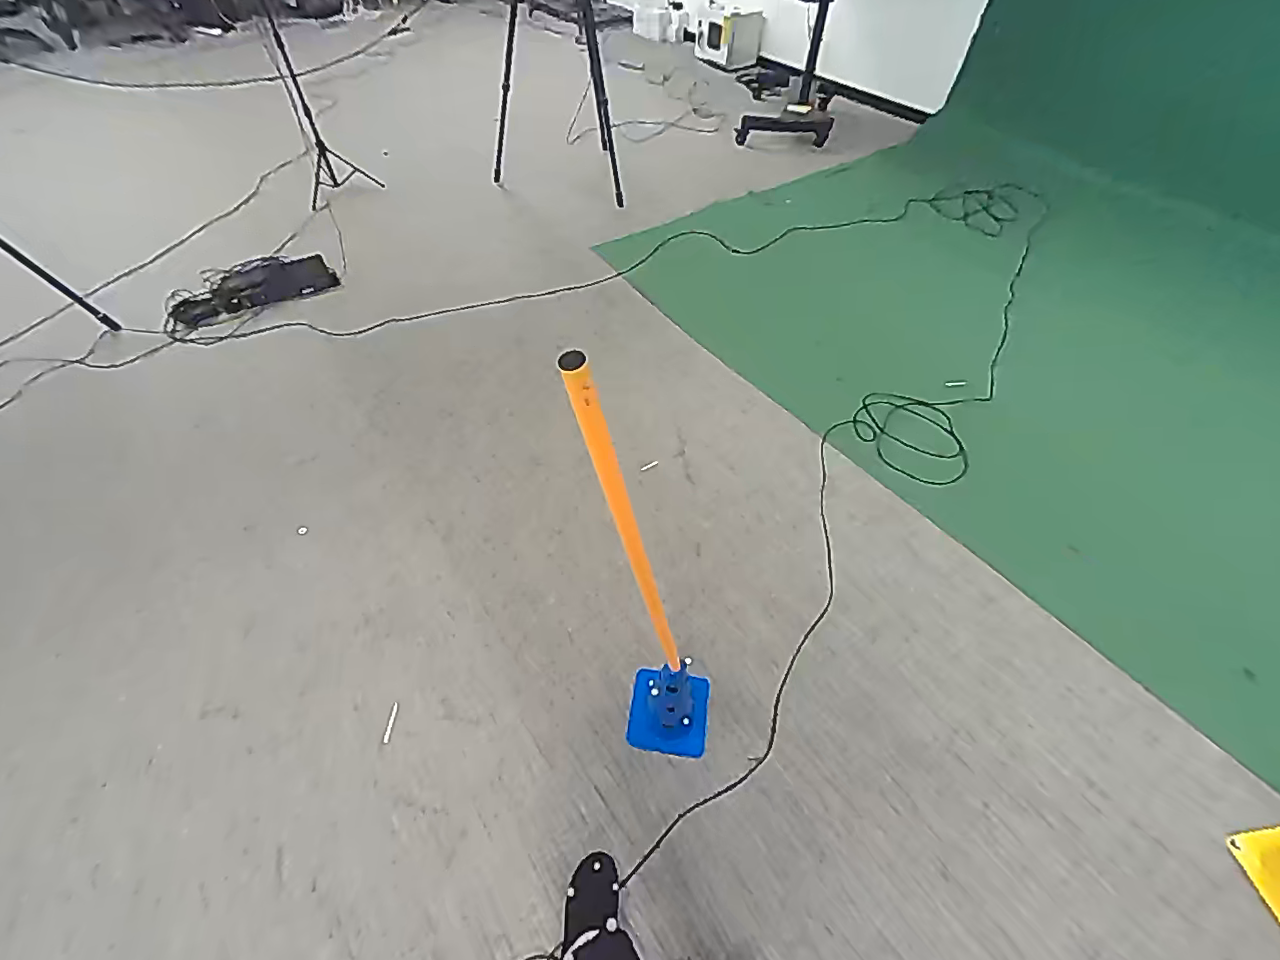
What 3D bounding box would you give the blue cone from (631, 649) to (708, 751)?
[{"bbox_3d":[0.073,0.488,1.258,0.193,0.380,0.192,6,53,6],"label":"blue cone"}]
